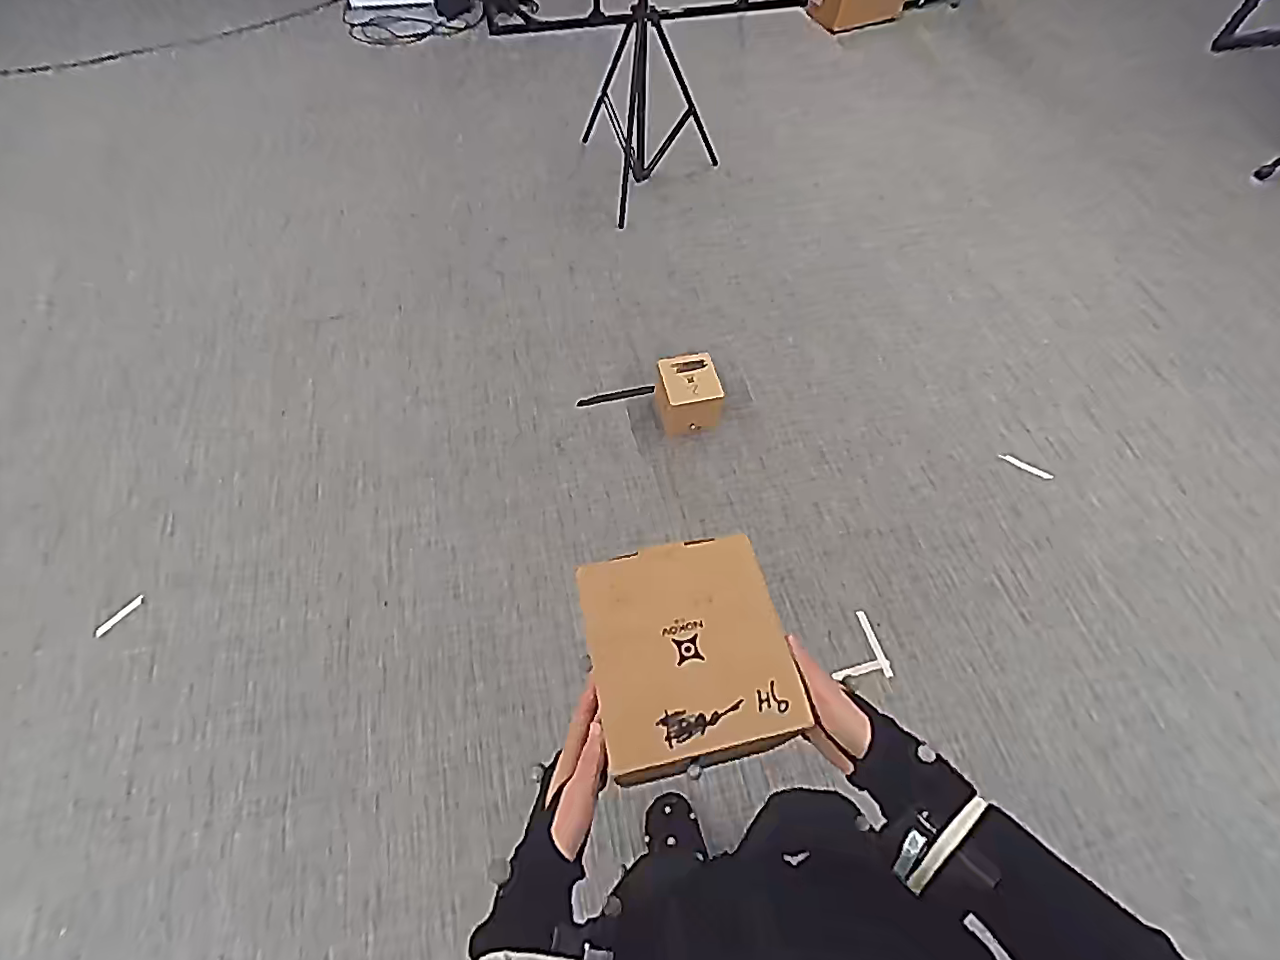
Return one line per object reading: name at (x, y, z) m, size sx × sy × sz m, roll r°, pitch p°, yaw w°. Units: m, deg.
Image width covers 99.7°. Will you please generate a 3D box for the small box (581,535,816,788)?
small box at (0.041, 0.179, 0.523) m, size 0.168 × 0.176 × 0.179 m, roll -11°, pitch 58°, yaw -6°
